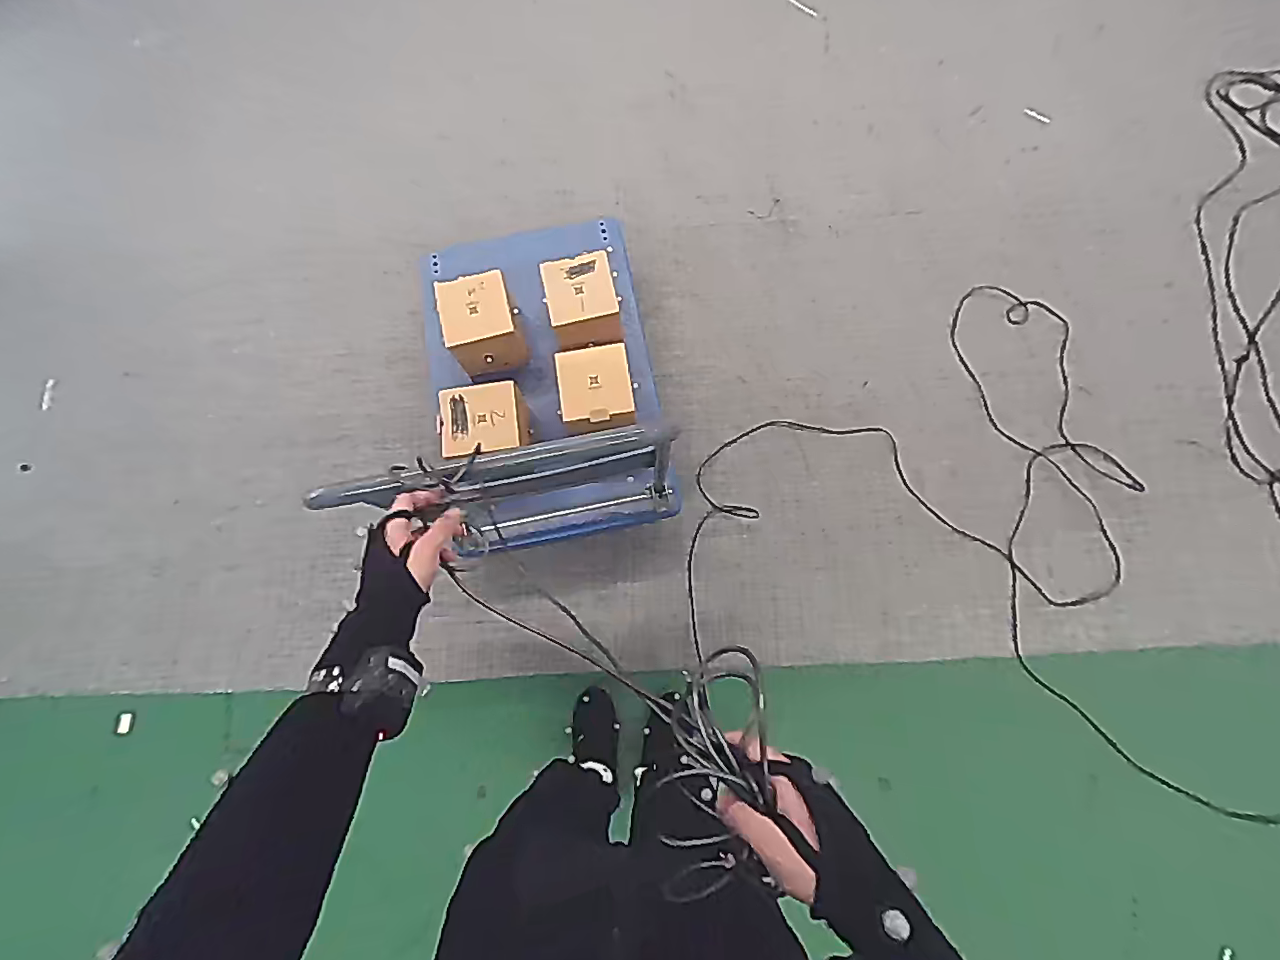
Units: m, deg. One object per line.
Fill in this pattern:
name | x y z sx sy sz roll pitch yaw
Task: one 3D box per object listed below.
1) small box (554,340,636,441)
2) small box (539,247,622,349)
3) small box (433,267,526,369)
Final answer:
small box | -0.105 -0.210 1.304 0.168 0.176 0.179 -9 77 0
small box | -0.145 -0.446 1.359 0.168 0.176 0.179 -13 77 0
small box | -0.396 -0.396 1.358 0.168 0.176 0.179 -14 76 -2
